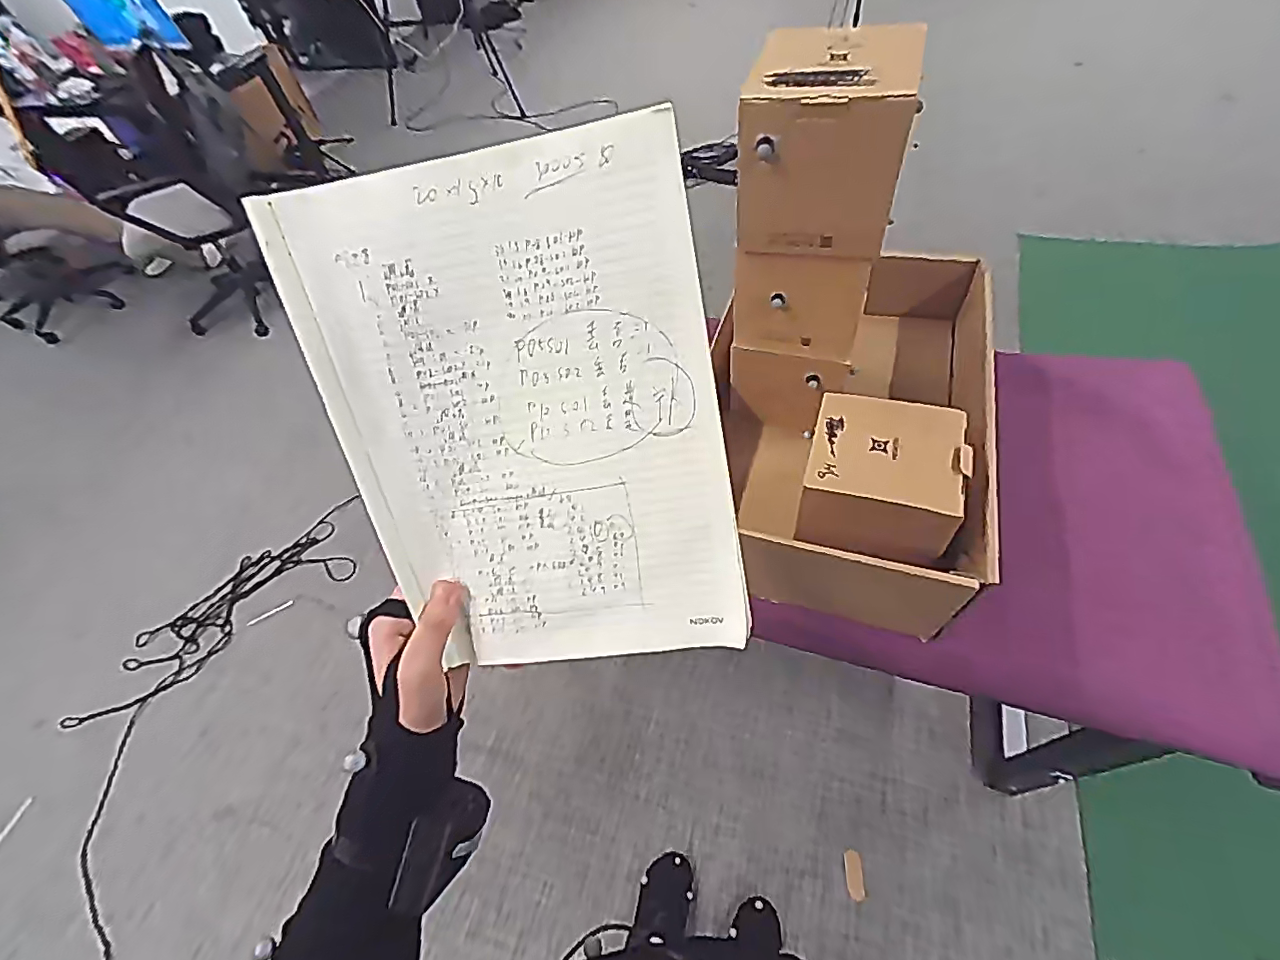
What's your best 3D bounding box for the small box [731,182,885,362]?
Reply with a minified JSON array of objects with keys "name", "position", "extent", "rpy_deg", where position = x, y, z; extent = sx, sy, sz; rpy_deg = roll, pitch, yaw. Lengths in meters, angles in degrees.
[{"name":"small box","position":[0.232,-0.290,0.763],"extent":[0.168,0.176,0.179],"rpy_deg":[13,58,18]}]
